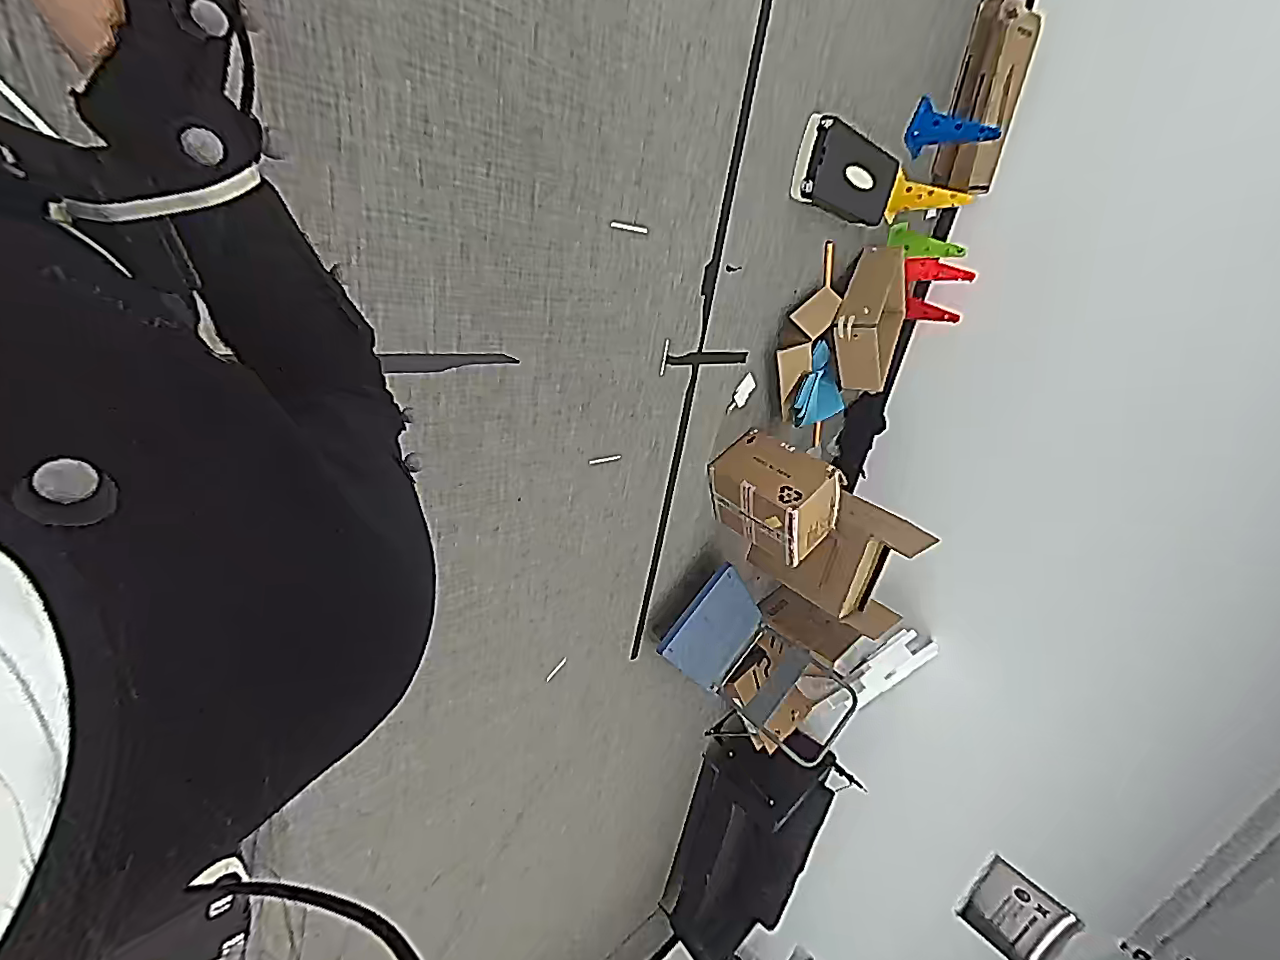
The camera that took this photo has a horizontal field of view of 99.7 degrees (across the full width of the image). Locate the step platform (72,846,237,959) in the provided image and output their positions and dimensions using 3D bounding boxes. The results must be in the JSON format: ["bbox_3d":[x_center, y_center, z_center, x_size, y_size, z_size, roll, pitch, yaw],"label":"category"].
[{"bbox_3d":[-1.433,1.268,1.350,0.684,0.204,0.286,-15,125,-43],"label":"step platform"}]
